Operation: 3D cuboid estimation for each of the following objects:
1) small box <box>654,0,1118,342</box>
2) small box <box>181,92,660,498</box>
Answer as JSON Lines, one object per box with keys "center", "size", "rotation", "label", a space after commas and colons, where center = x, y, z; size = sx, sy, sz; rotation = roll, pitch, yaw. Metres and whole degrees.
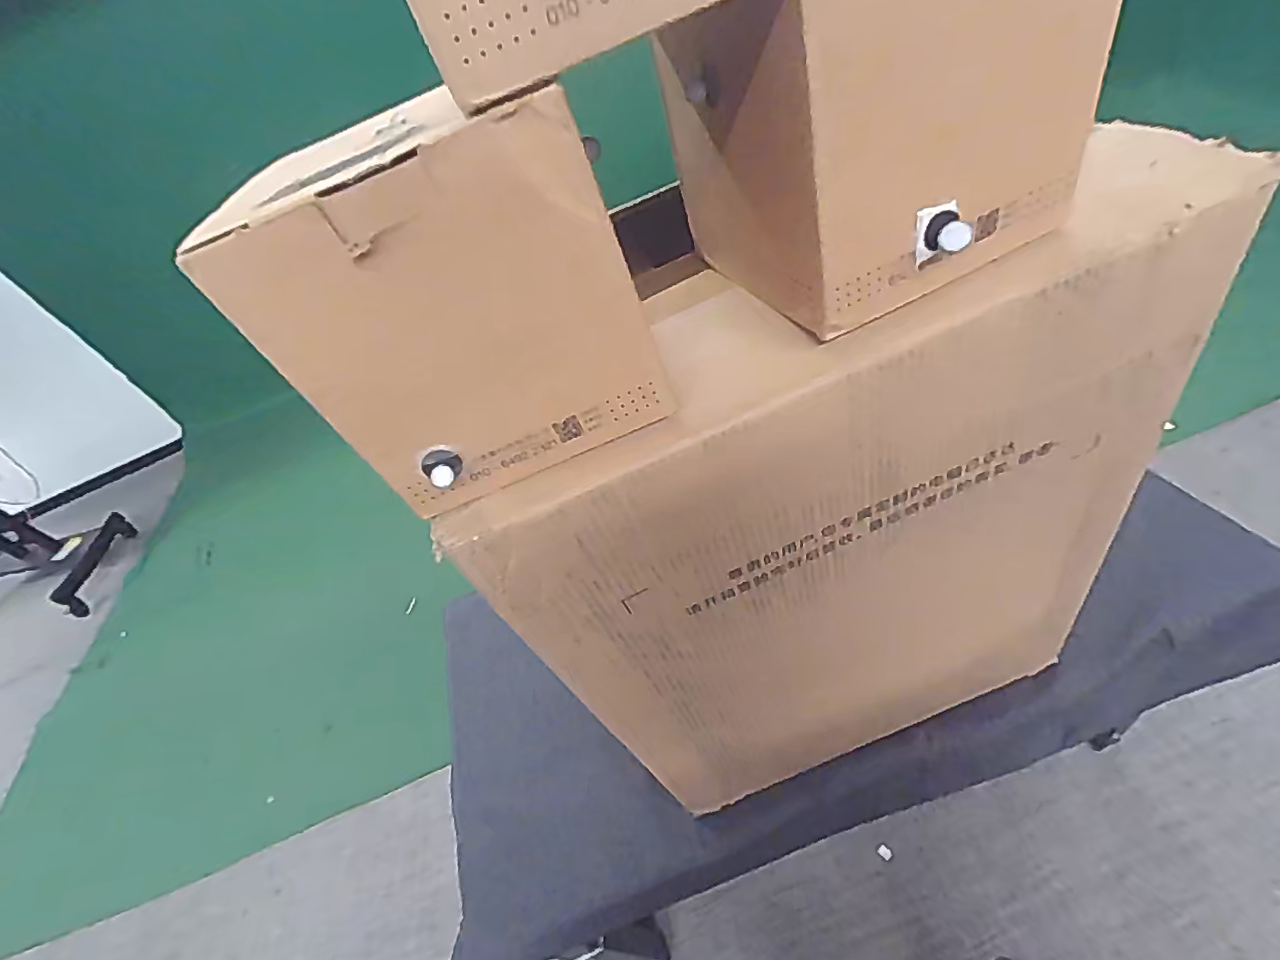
{"center": [0.123, -0.211, 0.321], "size": [0.168, 0.176, 0.179], "rotation": [-29, 44, -3], "label": "small box"}
{"center": [-0.101, -0.111, 0.324], "size": [0.168, 0.176, 0.179], "rotation": [-23, 42, 3], "label": "small box"}
